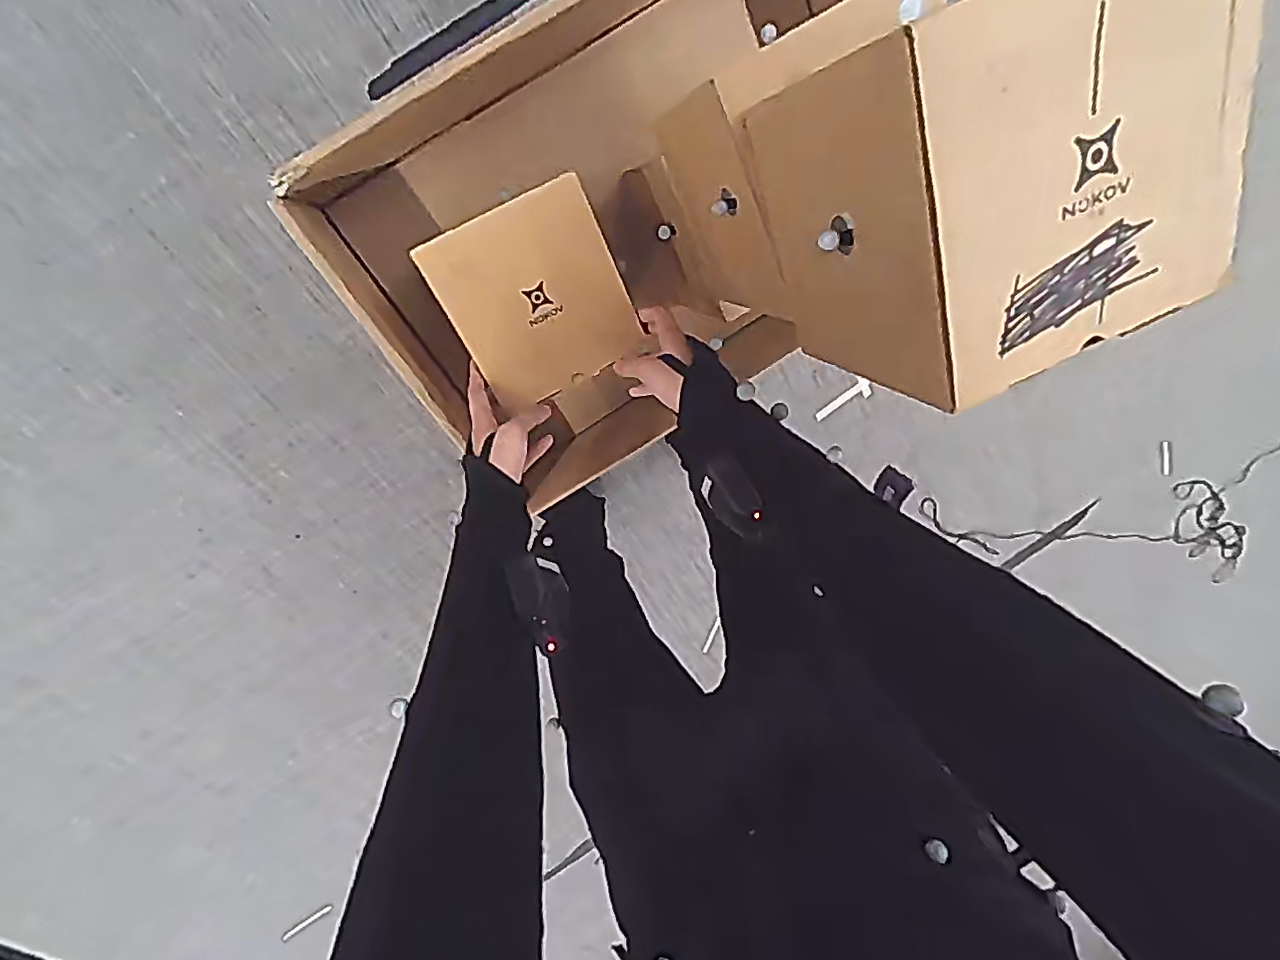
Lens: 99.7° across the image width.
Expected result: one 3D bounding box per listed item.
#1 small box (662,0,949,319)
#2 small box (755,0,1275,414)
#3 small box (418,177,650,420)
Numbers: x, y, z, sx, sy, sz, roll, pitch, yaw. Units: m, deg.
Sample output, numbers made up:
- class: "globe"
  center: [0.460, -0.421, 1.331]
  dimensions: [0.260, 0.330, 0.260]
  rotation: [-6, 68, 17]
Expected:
- class: "small box"
  center: [0.137, -0.257, 0.450]
  dimensions: [0.168, 0.176, 0.179]
  rotation: [-29, 117, 1]
- class: "small box"
  center: [0.190, -0.168, 0.318]
  dimensions: [0.168, 0.176, 0.179]
  rotation: [-25, 116, -2]
- class: "small box"
  center: [-0.115, -0.193, 0.584]
  dimensions: [0.168, 0.176, 0.179]
  rotation: [-28, 117, -5]
